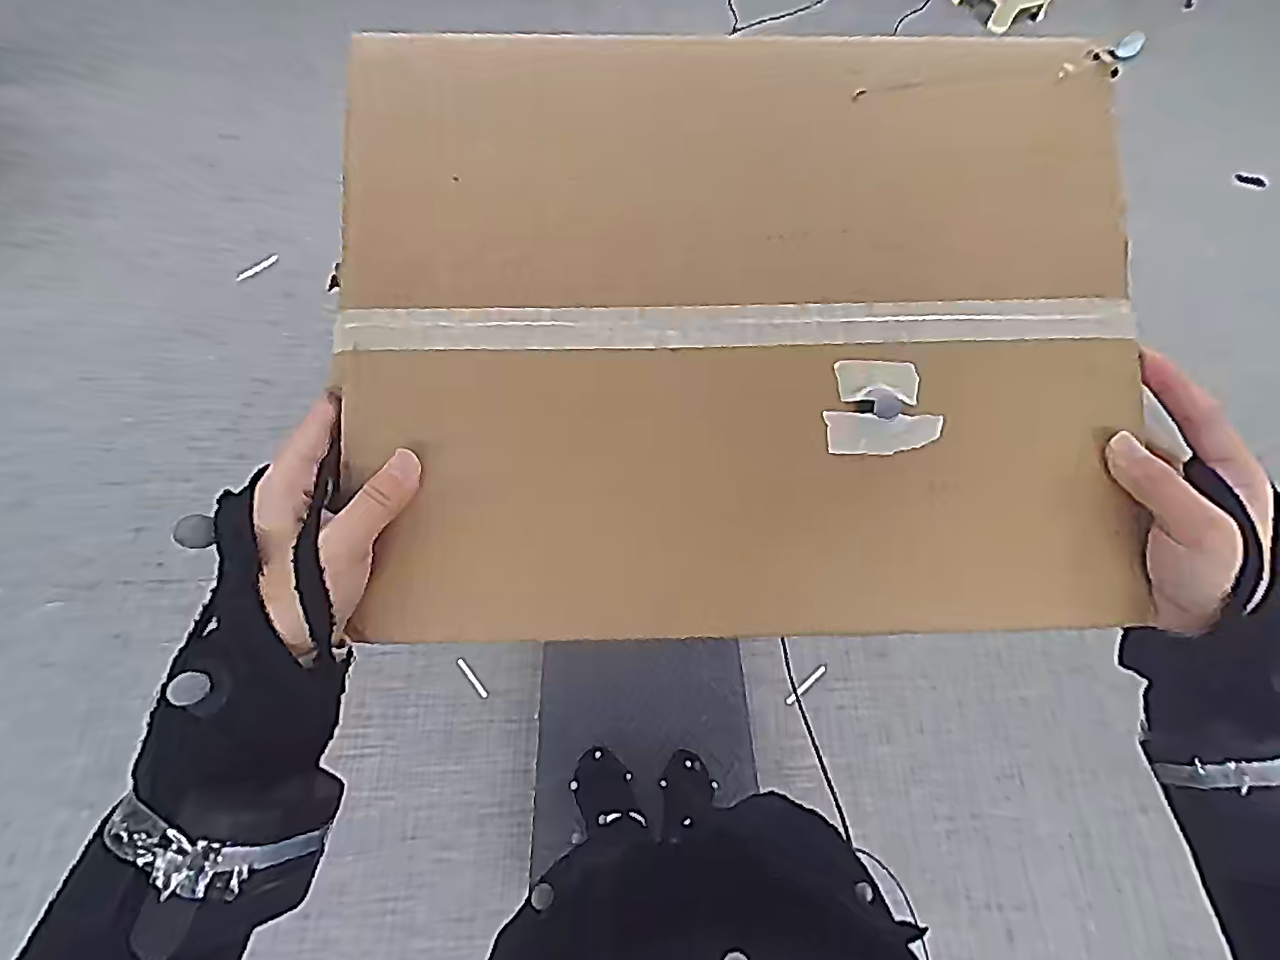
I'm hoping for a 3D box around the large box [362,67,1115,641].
[{"bbox_3d":[0.046,-0.067,0.440,0.408,0.320,0.320,-1,87,-2],"label":"large box"}]
